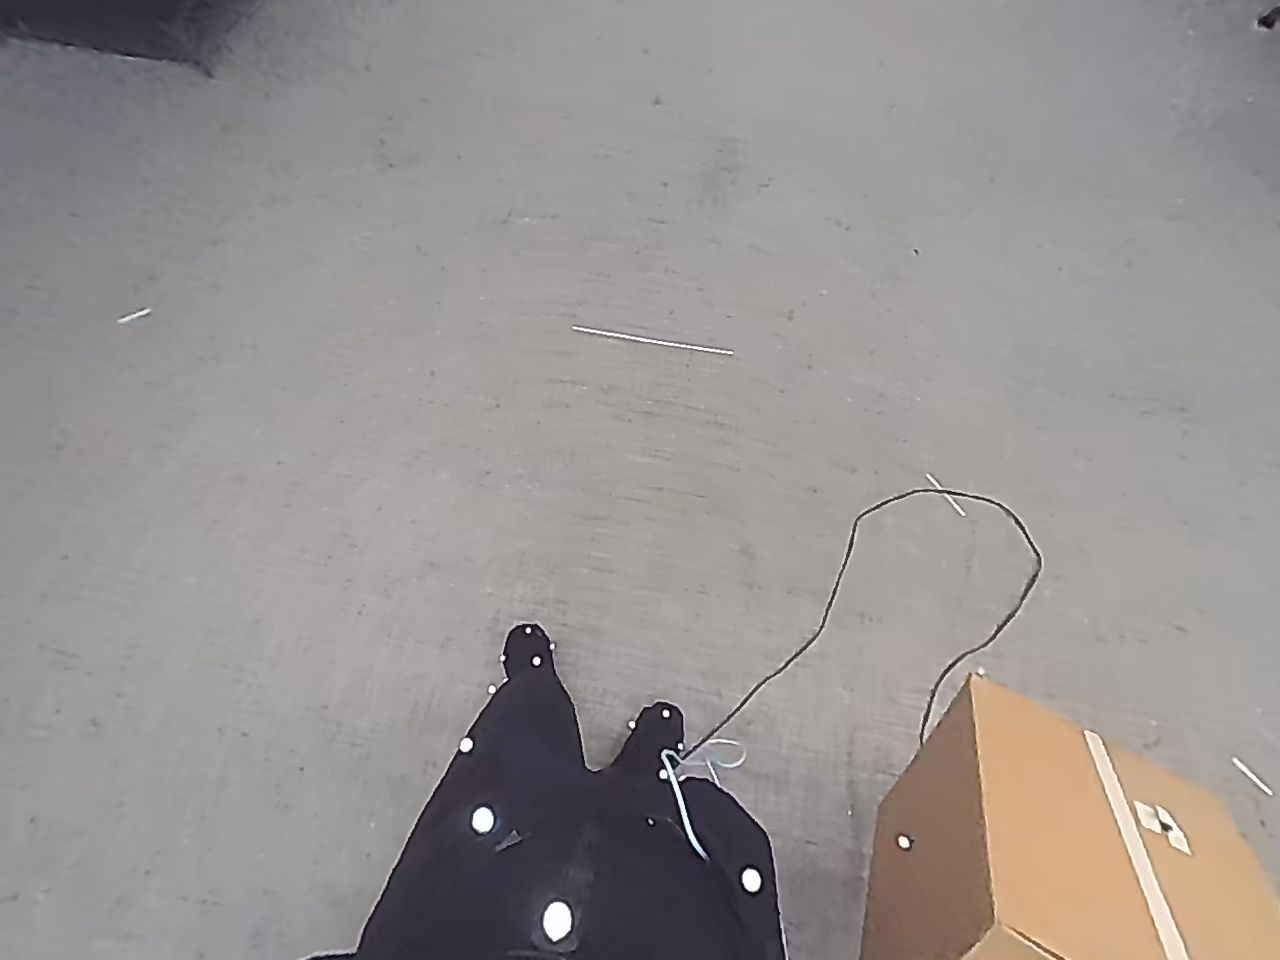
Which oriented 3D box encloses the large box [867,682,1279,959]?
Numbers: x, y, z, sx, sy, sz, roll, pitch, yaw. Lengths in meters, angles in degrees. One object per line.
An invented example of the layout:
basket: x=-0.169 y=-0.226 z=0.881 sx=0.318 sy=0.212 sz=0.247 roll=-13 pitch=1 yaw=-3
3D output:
large box: x=0.490 y=0.543 z=0.651 sx=0.320 sy=0.408 sz=0.320 roll=27 pitch=114 yaw=20
